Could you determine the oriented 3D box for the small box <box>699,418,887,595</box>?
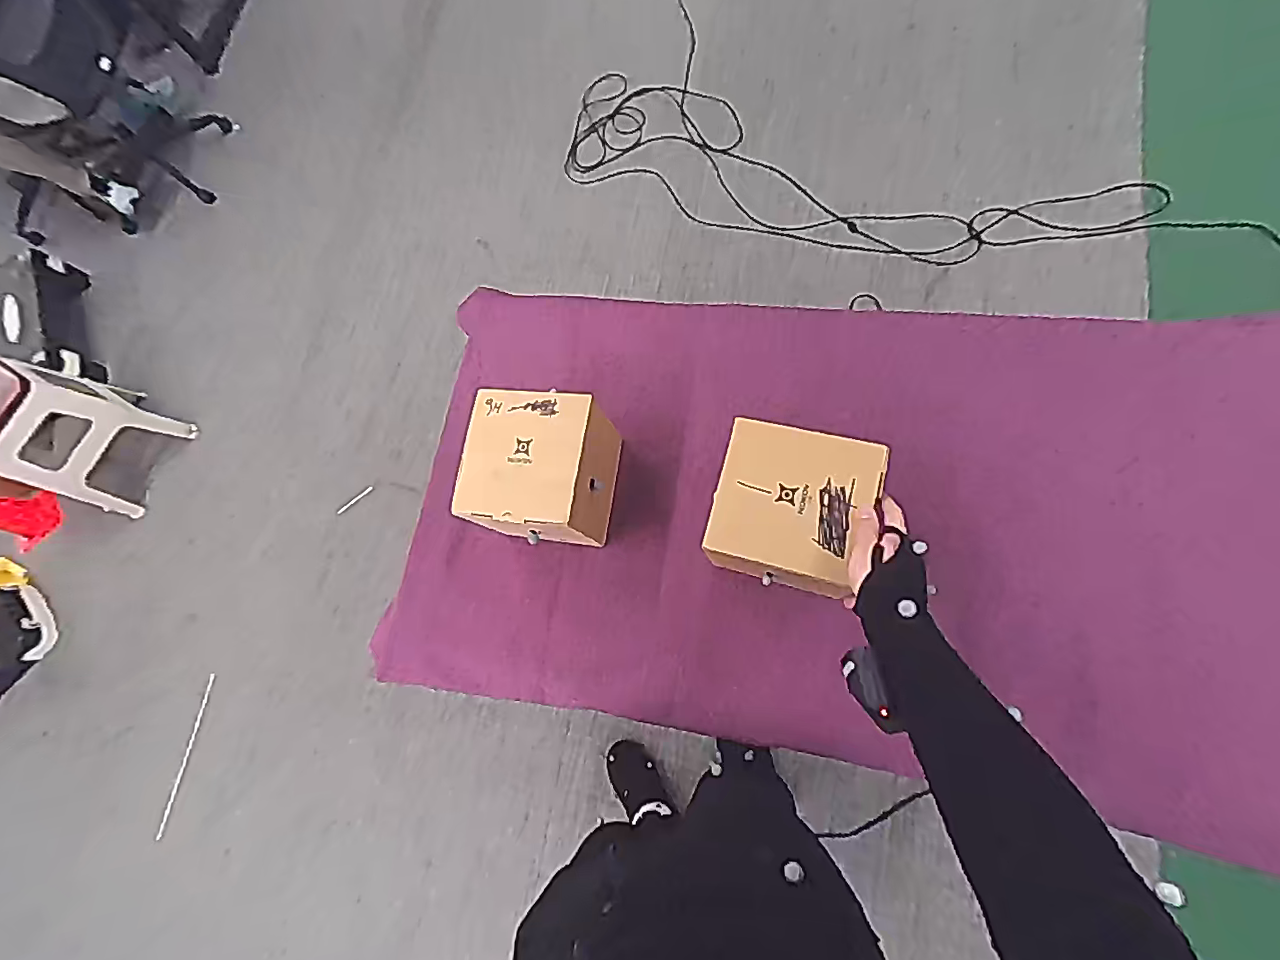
[{"bbox_3d":[0.188,0.042,0.679,0.179,0.176,0.168,13,77,17],"label":"small box"}]

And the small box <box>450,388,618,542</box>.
[{"bbox_3d":[-0.137,-0.014,0.766,0.168,0.176,0.179,6,77,13],"label":"small box"}]
